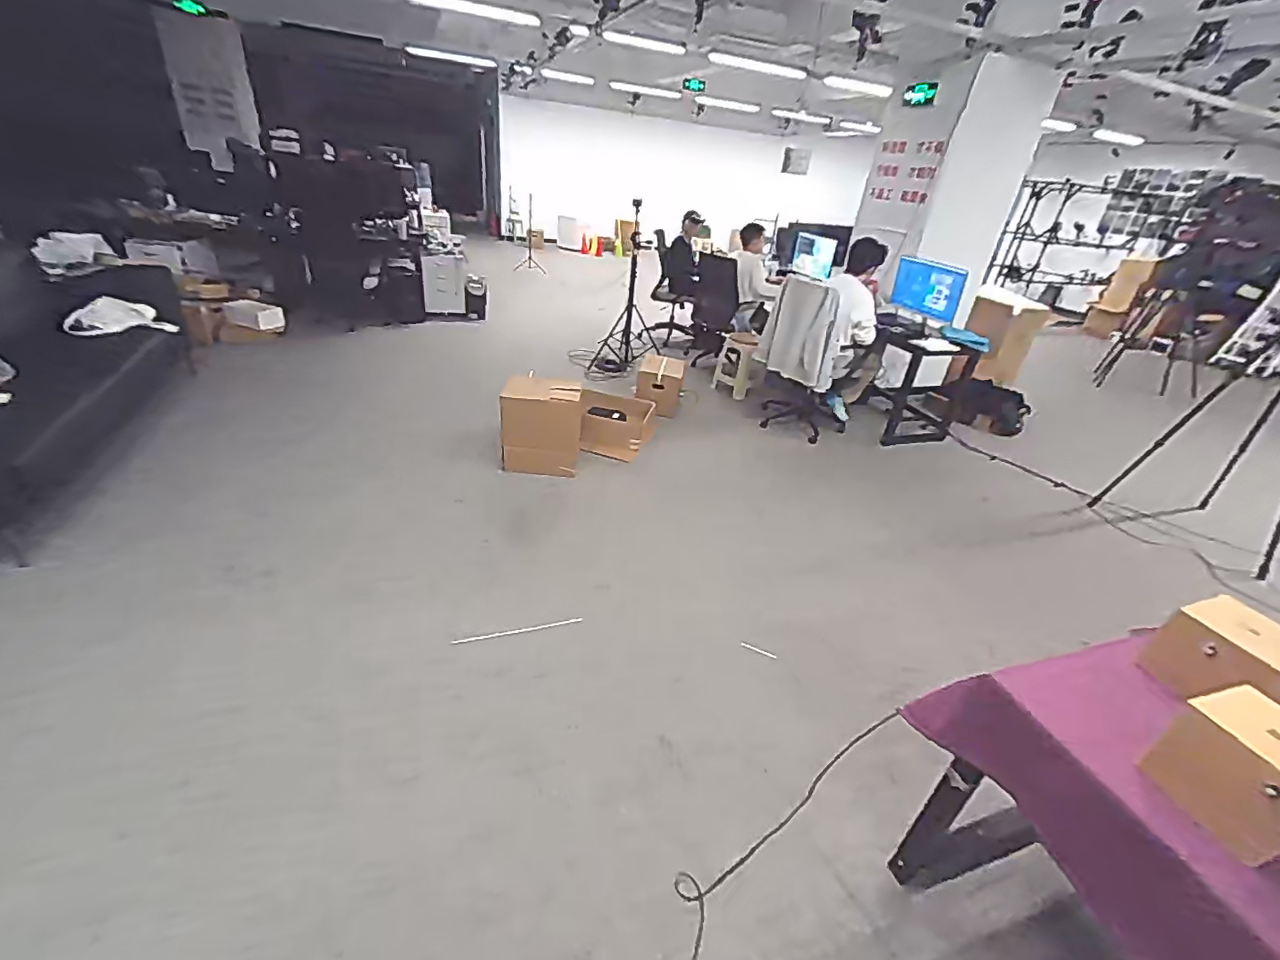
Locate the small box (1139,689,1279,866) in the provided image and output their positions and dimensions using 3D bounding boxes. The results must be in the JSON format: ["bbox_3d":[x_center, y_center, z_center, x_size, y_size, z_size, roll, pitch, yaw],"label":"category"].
[{"bbox_3d":[0.985,0.475,0.876,0.168,0.176,0.179,-3,32,-18],"label":"small box"}]
